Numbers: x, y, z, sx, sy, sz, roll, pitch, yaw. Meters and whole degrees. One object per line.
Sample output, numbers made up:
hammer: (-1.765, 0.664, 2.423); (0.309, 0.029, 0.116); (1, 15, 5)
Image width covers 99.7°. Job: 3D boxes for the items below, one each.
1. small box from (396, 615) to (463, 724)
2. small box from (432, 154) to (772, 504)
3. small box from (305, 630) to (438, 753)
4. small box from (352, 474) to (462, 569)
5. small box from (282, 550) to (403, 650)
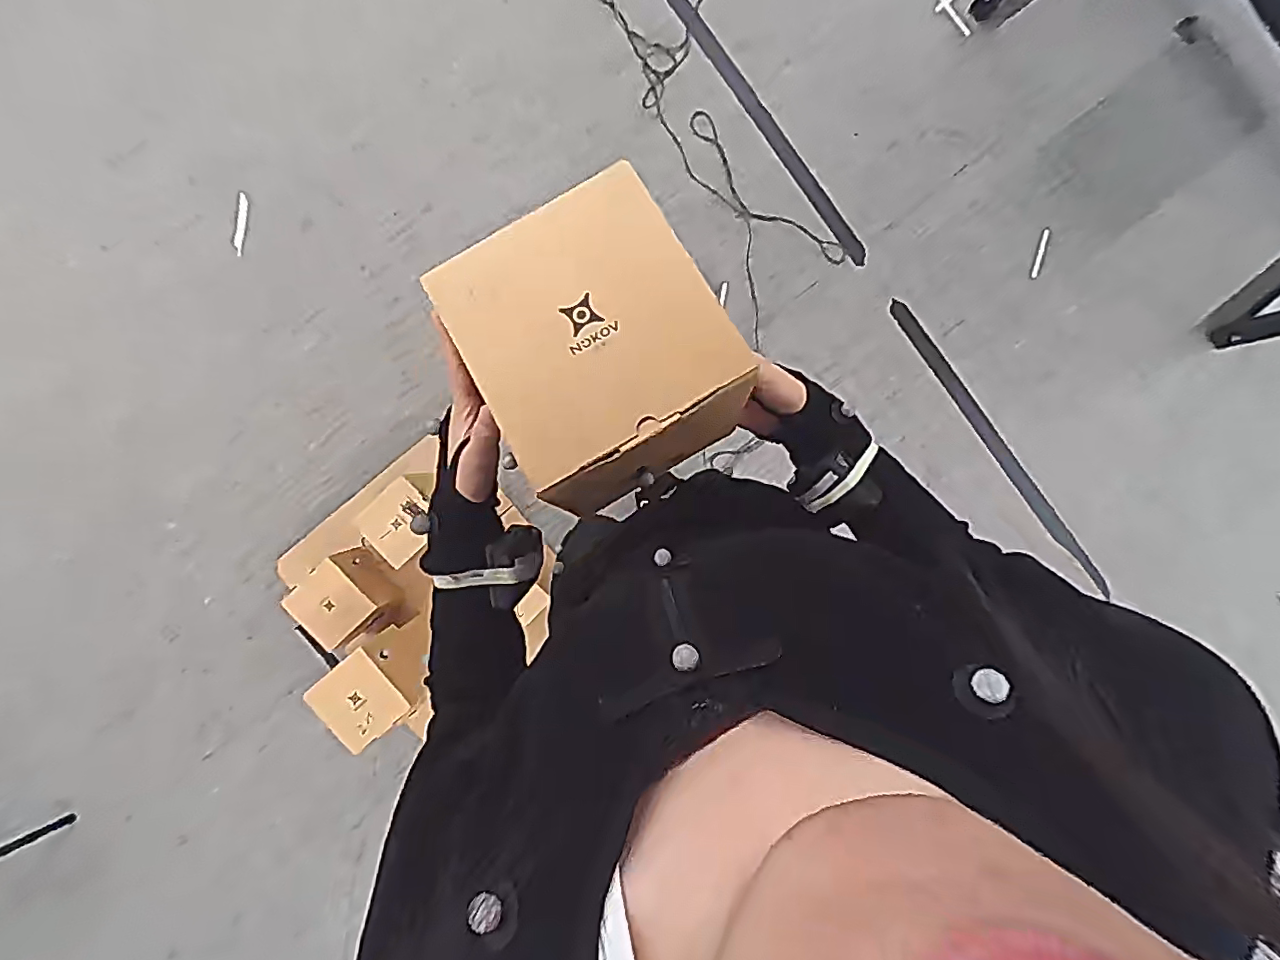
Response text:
small box: (-0.587, 0.478, 1.391); (0.168, 0.176, 0.179); (-44, 93, -1)
small box: (-0.025, -0.096, 0.427); (0.168, 0.176, 0.179); (-30, 83, -1)
small box: (-0.597, 0.463, 1.225); (0.168, 0.176, 0.179); (-40, 92, 0)
small box: (-0.581, 0.098, 1.383); (0.179, 0.176, 0.168); (-43, 92, 0)
small box: (-0.752, 0.296, 1.385); (0.168, 0.176, 0.179); (-44, 93, 1)
